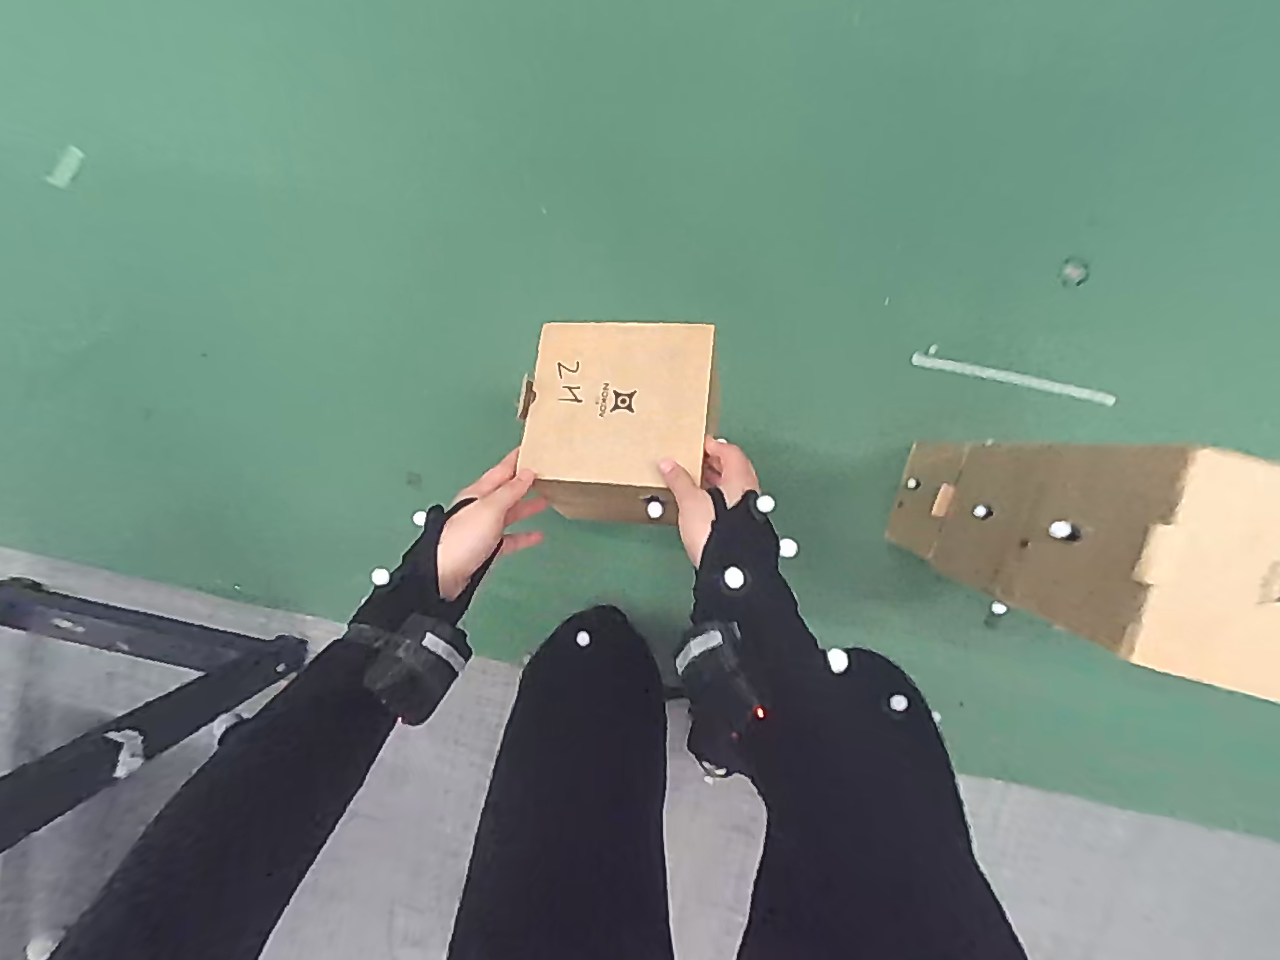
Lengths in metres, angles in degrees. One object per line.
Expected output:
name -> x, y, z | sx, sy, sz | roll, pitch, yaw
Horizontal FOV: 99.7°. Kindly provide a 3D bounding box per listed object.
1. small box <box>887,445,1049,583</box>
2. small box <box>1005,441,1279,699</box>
small box -> 0.499, 0.047, 0.793 | 0.179, 0.176, 0.168 | 16, 96, 3
small box -> 0.464, 0.069, 0.467 | 0.179, 0.176, 0.168 | 15, 95, 3
